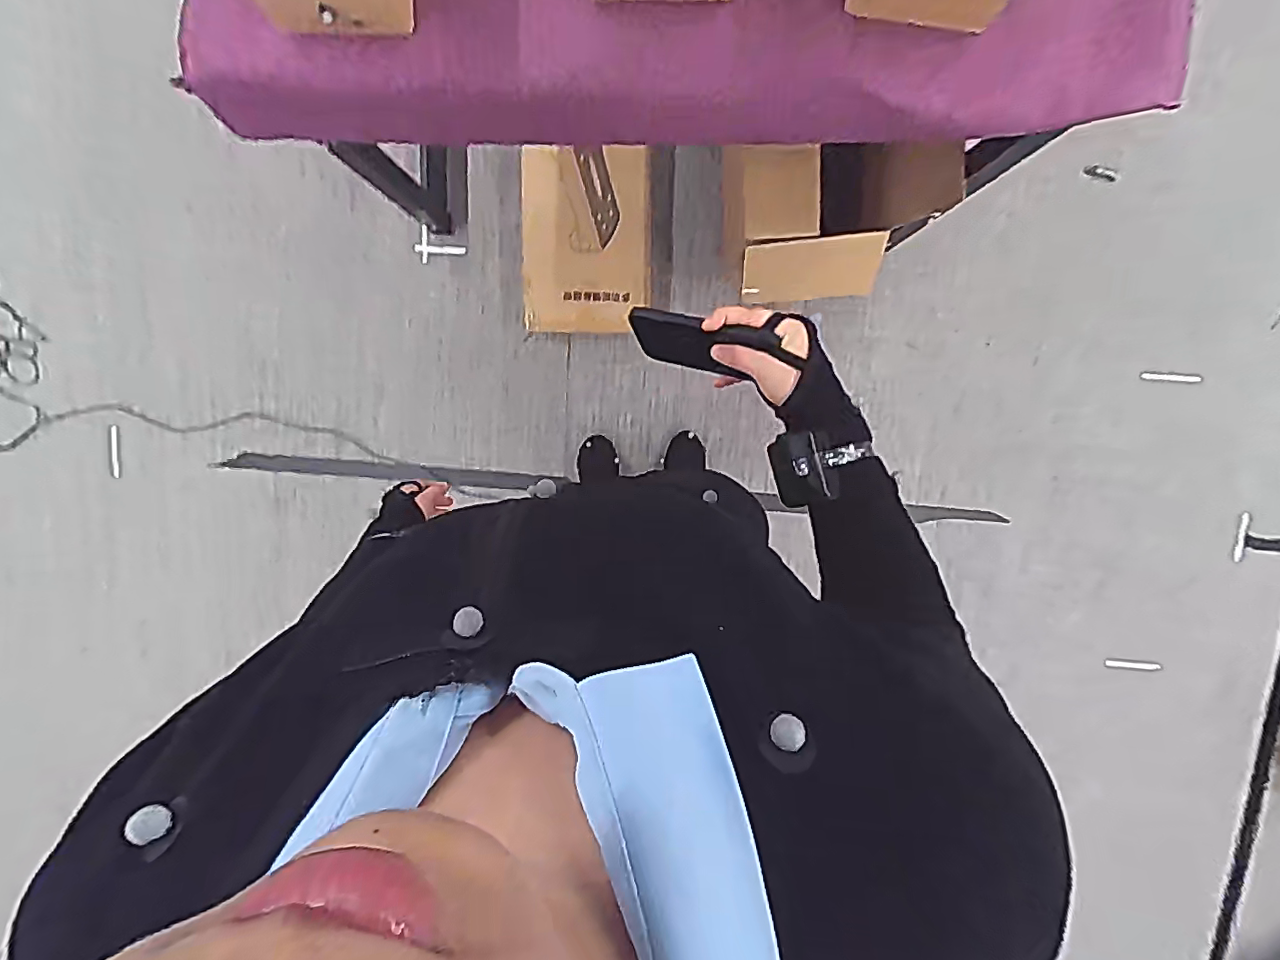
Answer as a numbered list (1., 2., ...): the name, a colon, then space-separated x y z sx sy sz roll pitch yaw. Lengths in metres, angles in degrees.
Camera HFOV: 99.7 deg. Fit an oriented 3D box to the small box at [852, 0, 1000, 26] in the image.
1. small box: 0.347 -0.634 0.575 0.179 0.176 0.168 8 98 0
